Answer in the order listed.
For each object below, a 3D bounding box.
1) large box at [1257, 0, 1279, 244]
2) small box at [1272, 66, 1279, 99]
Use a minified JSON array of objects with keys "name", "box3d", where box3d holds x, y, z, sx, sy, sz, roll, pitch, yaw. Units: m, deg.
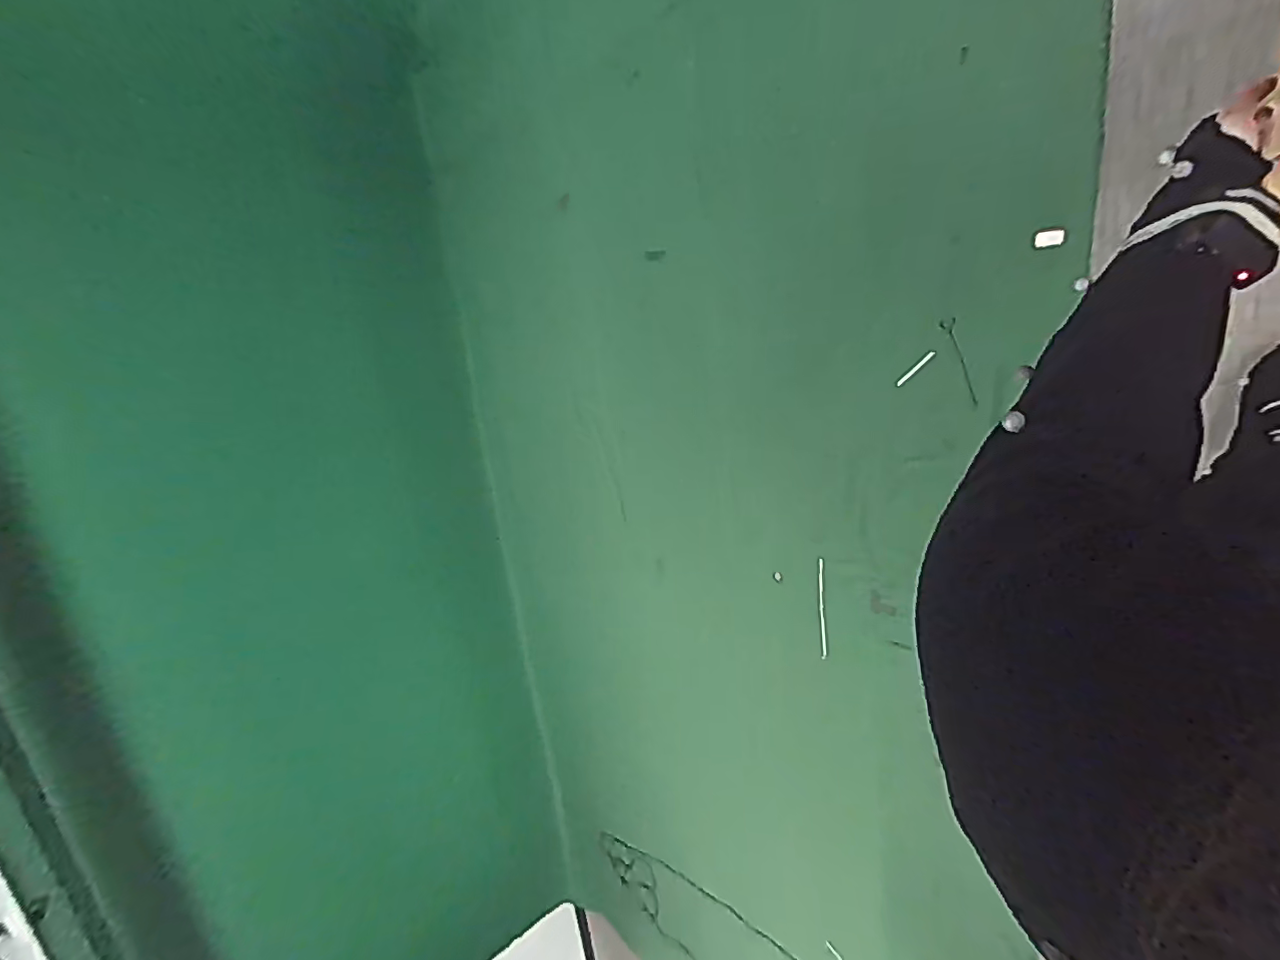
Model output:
[{"name":"large box","box3d":[1.032,-0.544,0.671,0.320,0.320,0.408,8,110,50]},{"name":"small box","box3d":[0.591,-0.358,0.358,0.179,0.176,0.168,28,125,43]}]
